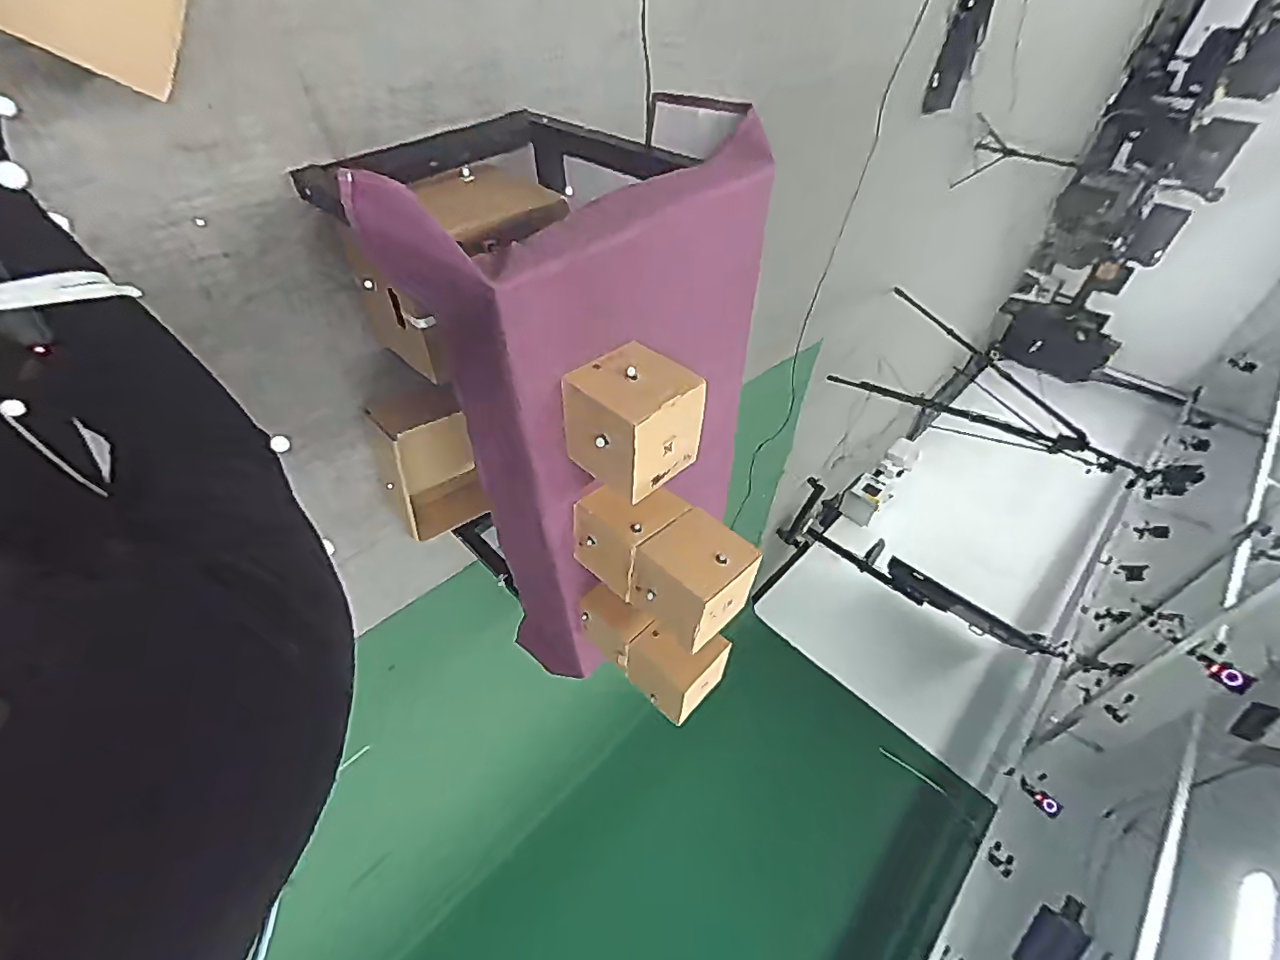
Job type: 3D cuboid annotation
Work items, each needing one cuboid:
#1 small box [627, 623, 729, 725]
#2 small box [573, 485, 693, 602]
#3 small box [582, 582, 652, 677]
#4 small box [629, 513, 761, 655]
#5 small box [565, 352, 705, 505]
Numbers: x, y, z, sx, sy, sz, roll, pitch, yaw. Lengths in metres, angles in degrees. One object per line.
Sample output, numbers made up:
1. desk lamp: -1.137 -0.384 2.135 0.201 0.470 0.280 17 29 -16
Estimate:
1. small box: 0.083 0.429 1.273 0.168 0.176 0.179 -34 145 -33
2. small box: -0.019 0.111 1.128 0.179 0.176 0.168 -30 143 -34
3. small box: -0.033 0.344 1.349 0.179 0.176 0.168 -35 146 -31
4. small box: 0.102 0.194 1.052 0.179 0.176 0.168 -30 142 -36
5. small box: -0.012 -0.096 0.914 0.168 0.176 0.179 -33 144 -31
